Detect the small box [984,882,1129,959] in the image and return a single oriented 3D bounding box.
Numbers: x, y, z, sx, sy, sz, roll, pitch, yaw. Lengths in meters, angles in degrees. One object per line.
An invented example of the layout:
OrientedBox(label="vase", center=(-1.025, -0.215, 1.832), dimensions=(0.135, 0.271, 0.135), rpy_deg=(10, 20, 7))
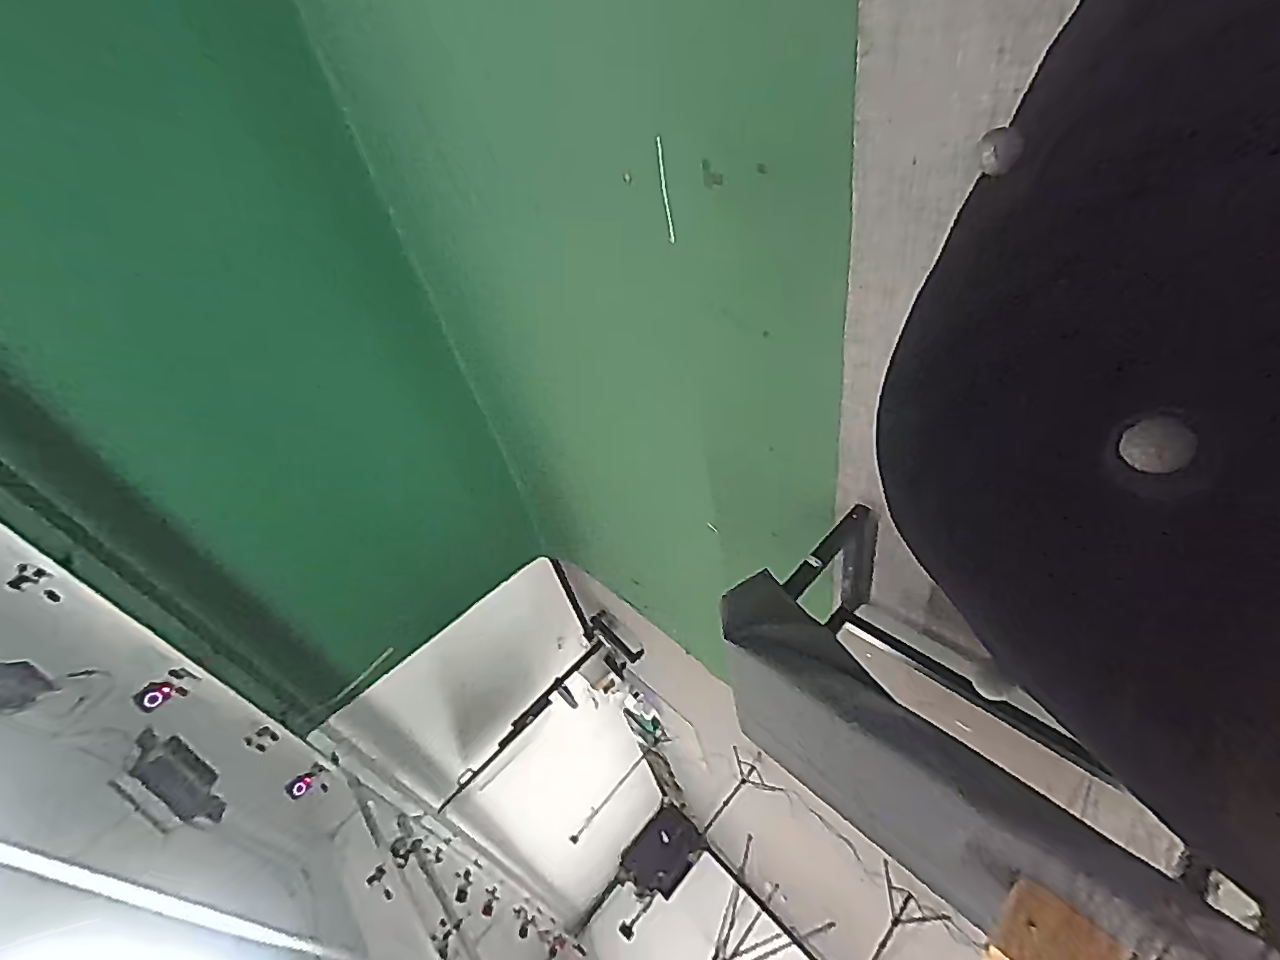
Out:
OrientedBox(label="small box", center=(0.849, 0.973, 1.110), dimensions=(0.179, 0.176, 0.168), rpy_deg=(27, 146, 41))
